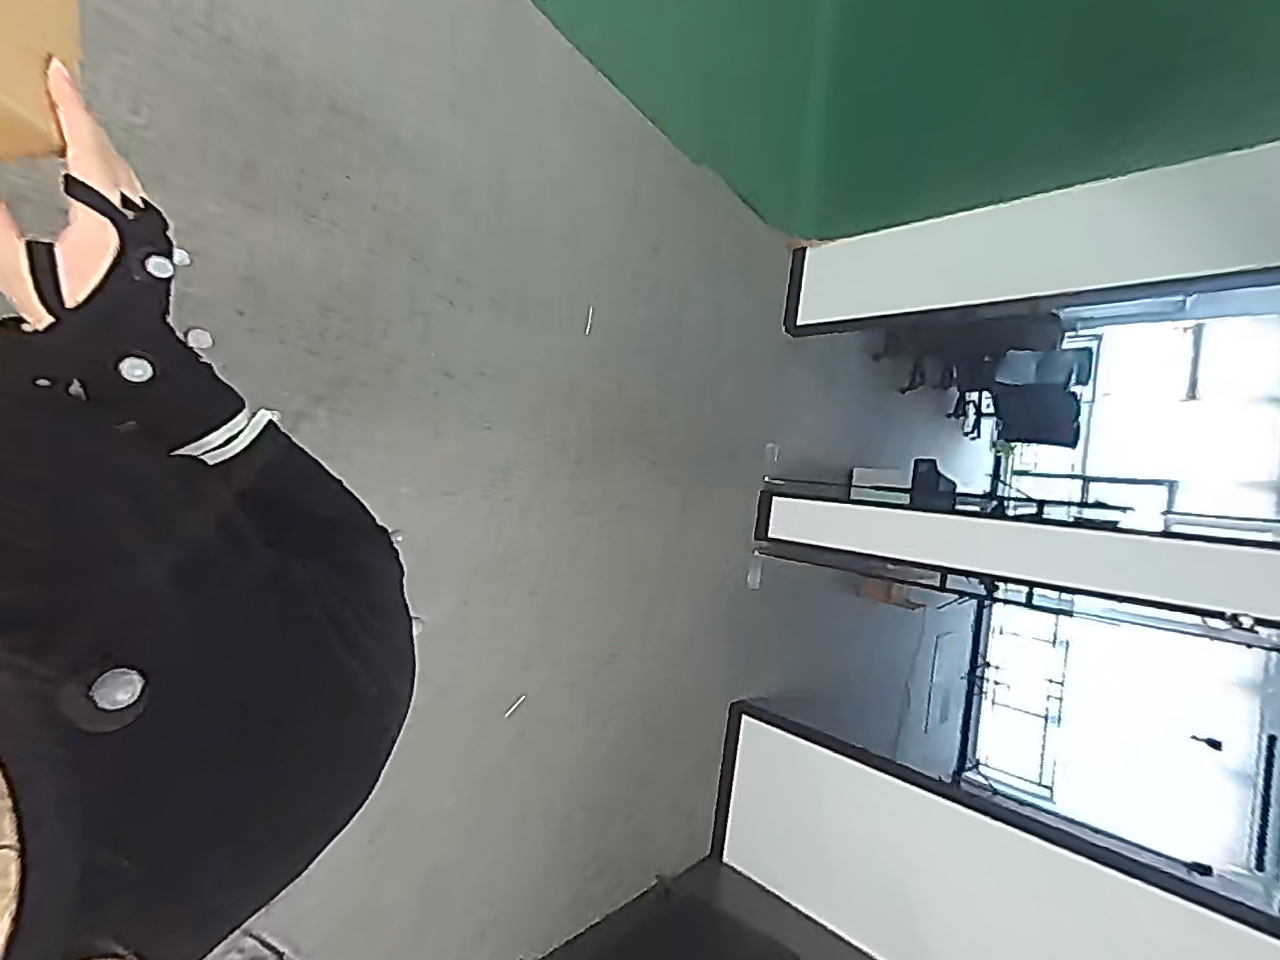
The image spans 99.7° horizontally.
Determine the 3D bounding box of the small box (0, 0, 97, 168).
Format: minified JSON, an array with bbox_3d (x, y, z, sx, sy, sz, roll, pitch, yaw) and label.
[{"bbox_3d":[-0.401,-0.264,0.232,0.168,0.179,0.176,93,-10,-82],"label":"small box"}]
